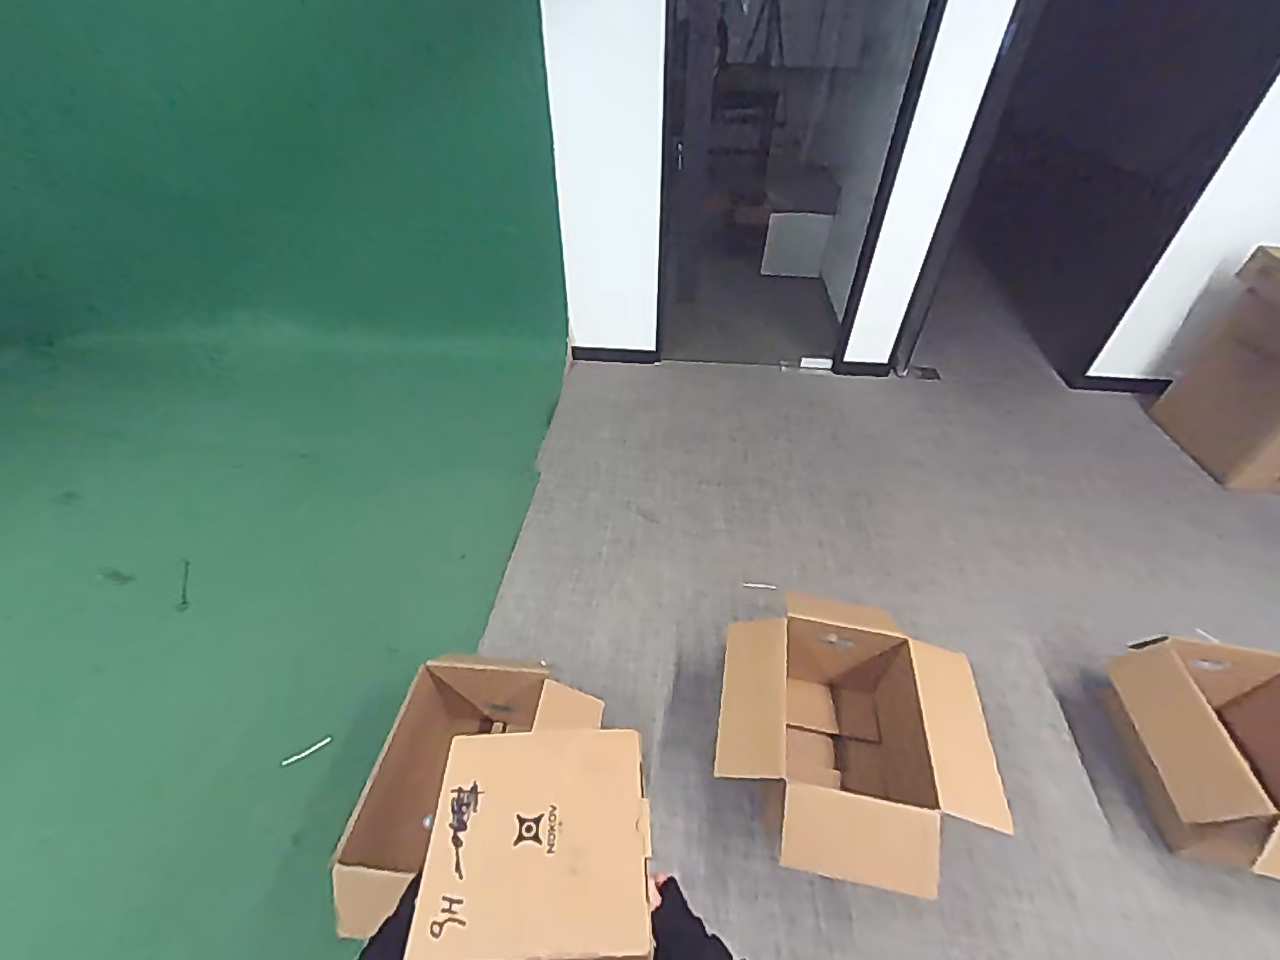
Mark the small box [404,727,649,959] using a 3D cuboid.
[{"bbox_3d":[-0.089,0.350,0.497,0.179,0.176,0.168,2,37,-4],"label":"small box"}]
